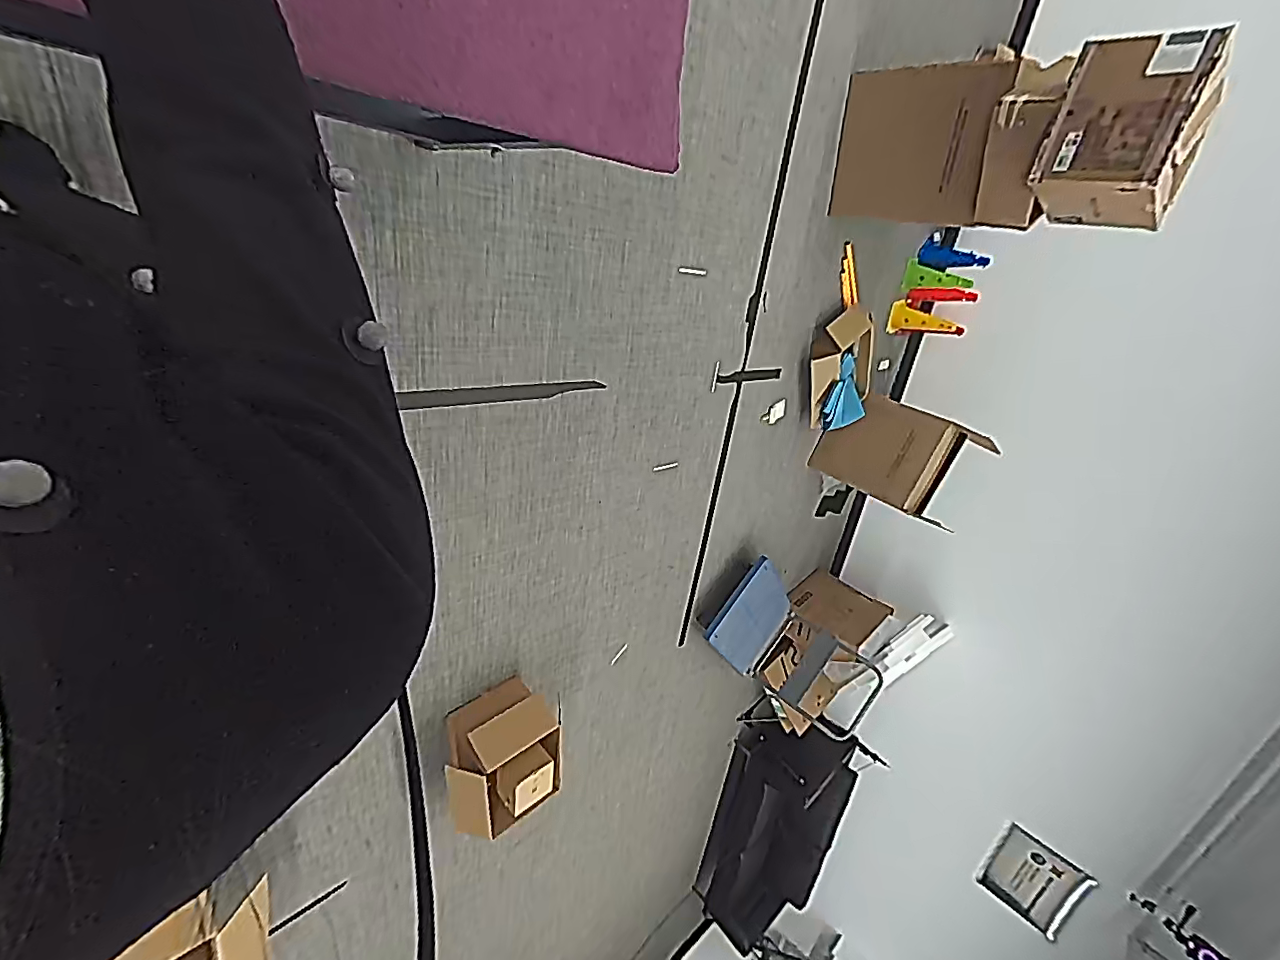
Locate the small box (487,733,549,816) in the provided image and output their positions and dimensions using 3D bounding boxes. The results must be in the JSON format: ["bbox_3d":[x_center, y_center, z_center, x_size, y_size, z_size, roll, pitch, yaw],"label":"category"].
[{"bbox_3d":[-0.461,1.097,2.025,0.168,0.176,0.179,-17,124,-42],"label":"small box"}]
